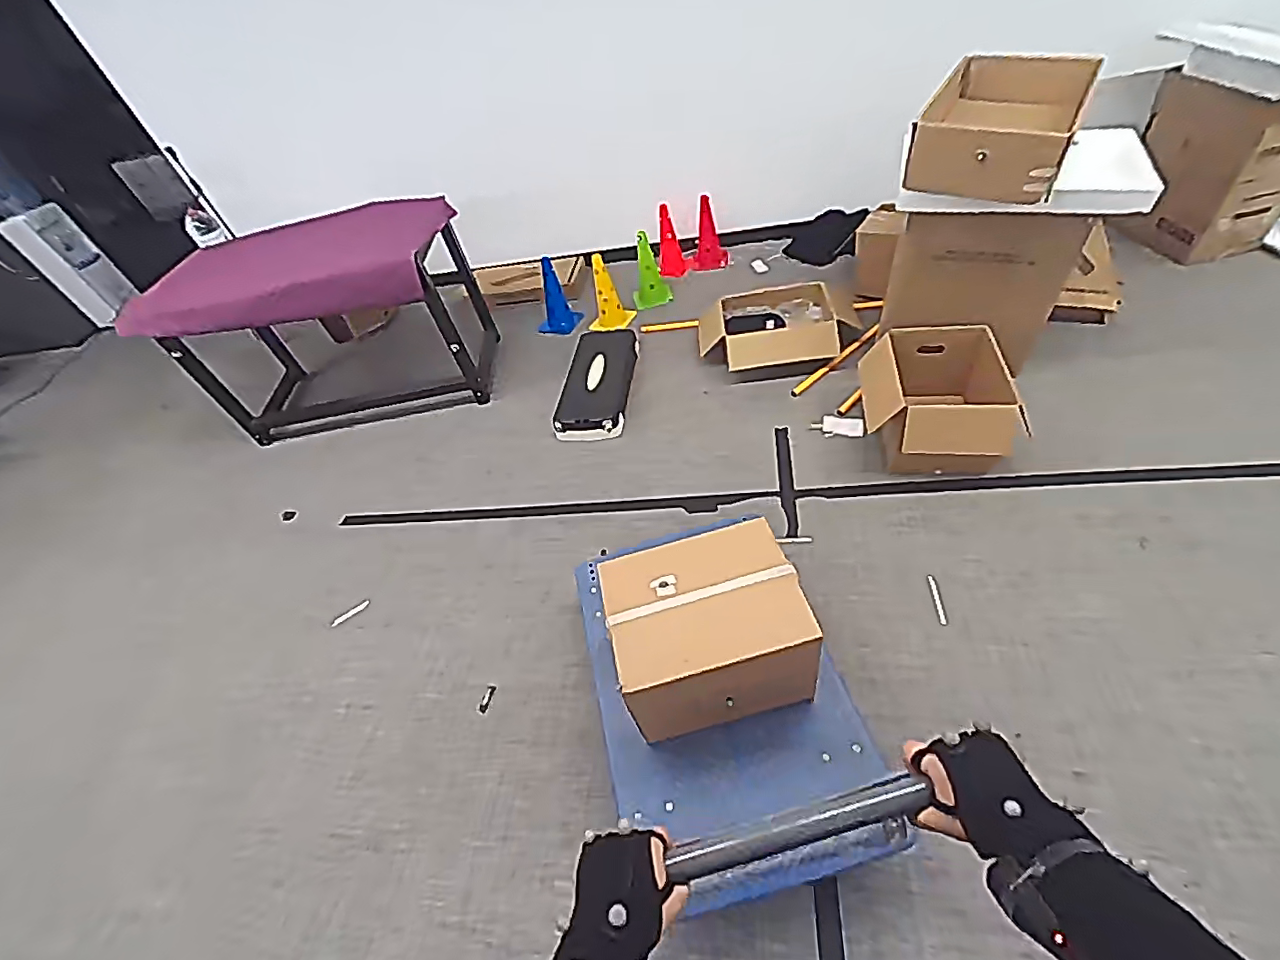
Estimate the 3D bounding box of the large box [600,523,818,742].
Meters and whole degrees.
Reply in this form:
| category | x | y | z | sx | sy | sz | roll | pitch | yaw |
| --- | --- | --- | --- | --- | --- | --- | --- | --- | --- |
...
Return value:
| category | x | y | z | sx | sy | sz | roll | pitch | yaw |
| --- | --- | --- | --- | --- | --- | --- | --- | --- | --- |
| large box | 0.158 | 0.360 | 1.264 | 0.408 | 0.320 | 0.320 | -17 | 45 | 0 |
